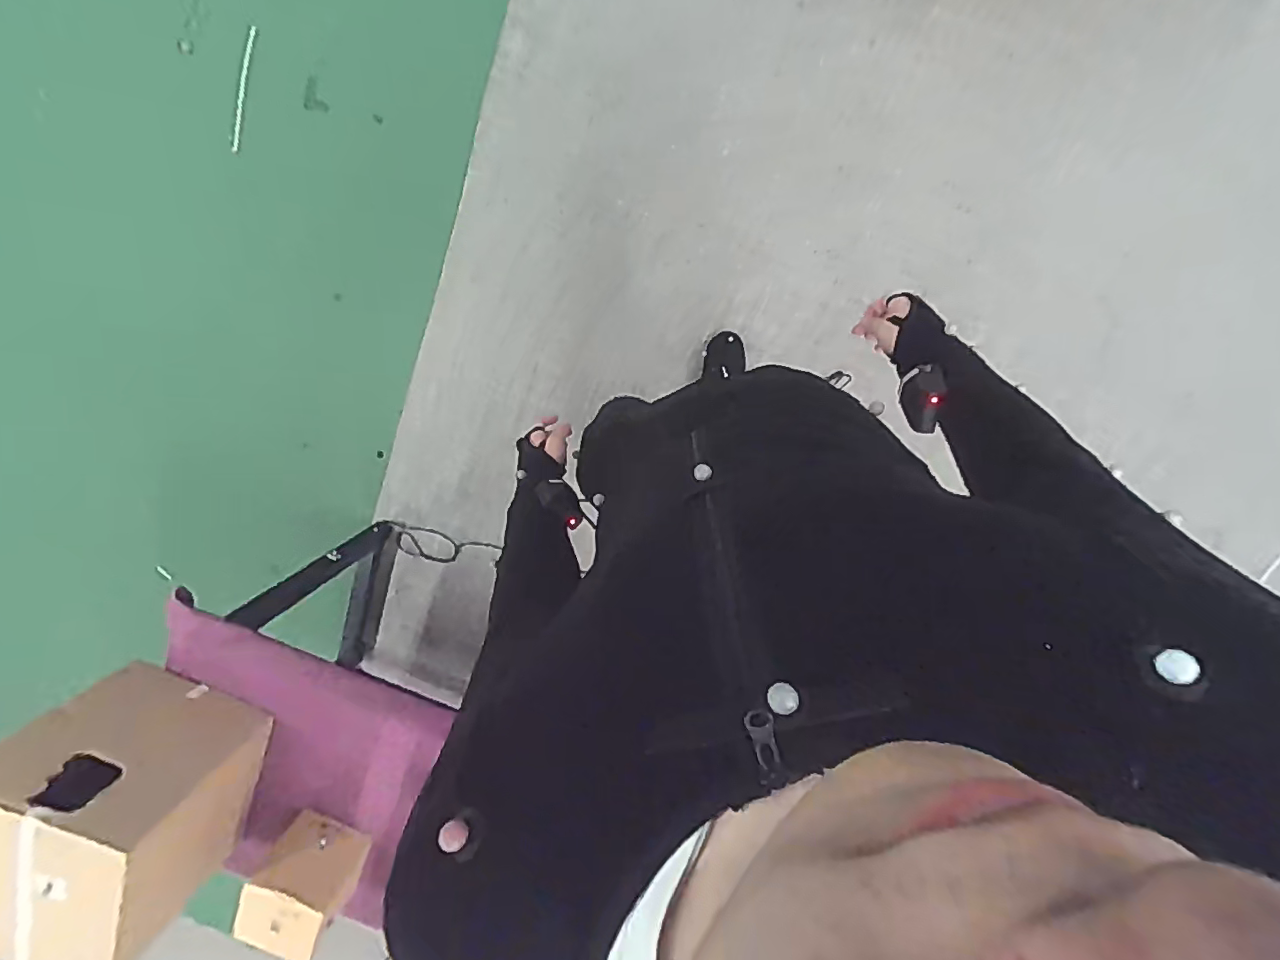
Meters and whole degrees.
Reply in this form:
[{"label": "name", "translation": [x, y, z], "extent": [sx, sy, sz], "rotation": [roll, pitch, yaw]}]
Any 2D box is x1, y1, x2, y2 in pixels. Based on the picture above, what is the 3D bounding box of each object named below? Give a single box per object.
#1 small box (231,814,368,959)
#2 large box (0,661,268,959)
[{"label": "small box", "translation": [-0.704, 0.855, 1.132], "extent": [0.168, 0.176, 0.179], "rotation": [23, 107, -1]}, {"label": "large box", "translation": [-0.989, 0.641, 1.030], "extent": [0.320, 0.320, 0.408], "rotation": [23, 107, -2]}]
